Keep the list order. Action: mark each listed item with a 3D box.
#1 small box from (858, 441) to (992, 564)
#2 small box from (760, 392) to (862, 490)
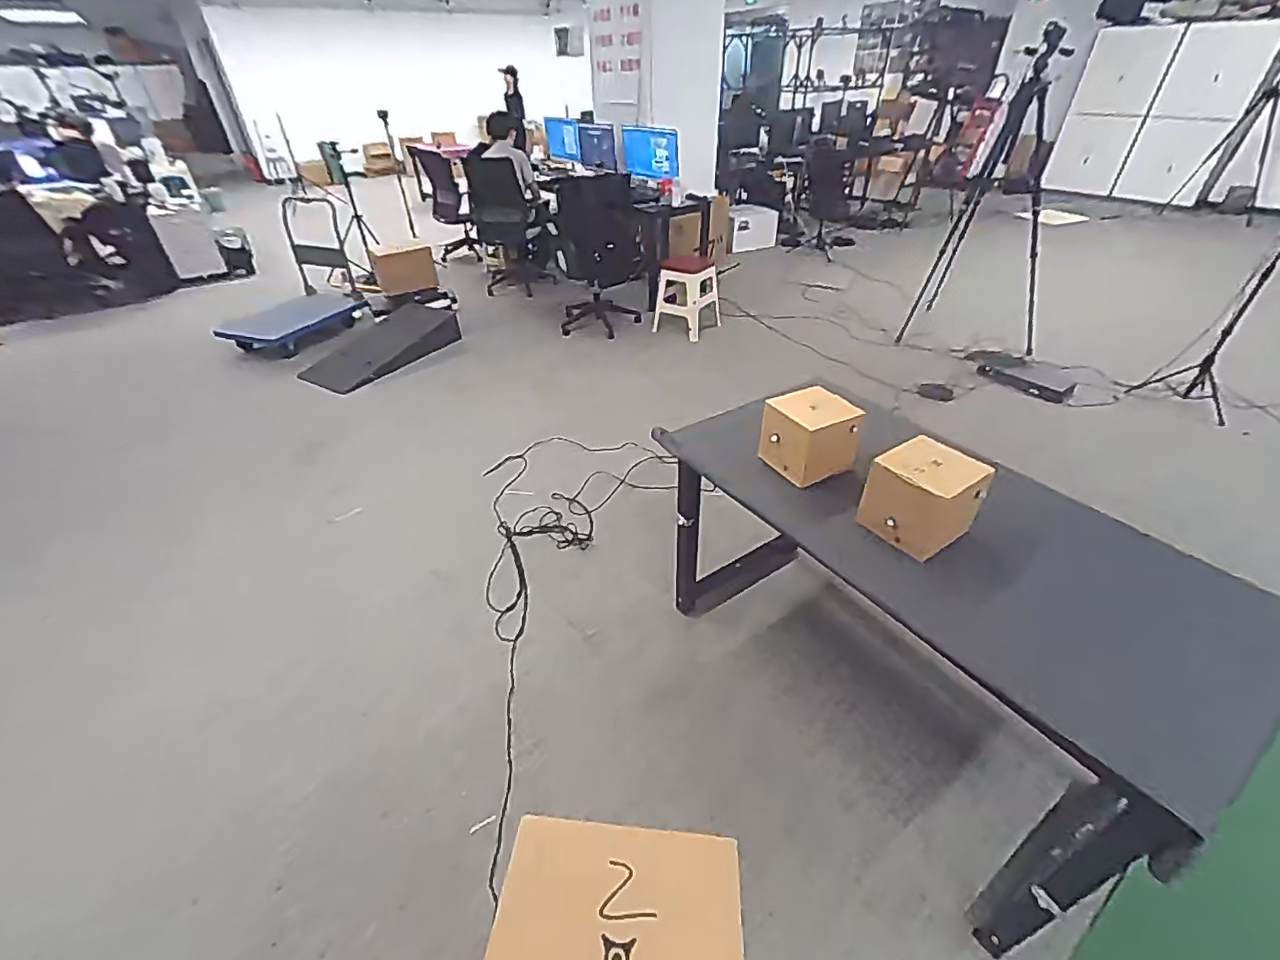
[{"bbox_3d":[0.594,0.046,1.150,0.179,0.176,0.168,-22,41,-27],"label":"small box"},{"bbox_3d":[0.416,-0.097,1.348,0.179,0.176,0.168,-18,40,-23],"label":"small box"}]
